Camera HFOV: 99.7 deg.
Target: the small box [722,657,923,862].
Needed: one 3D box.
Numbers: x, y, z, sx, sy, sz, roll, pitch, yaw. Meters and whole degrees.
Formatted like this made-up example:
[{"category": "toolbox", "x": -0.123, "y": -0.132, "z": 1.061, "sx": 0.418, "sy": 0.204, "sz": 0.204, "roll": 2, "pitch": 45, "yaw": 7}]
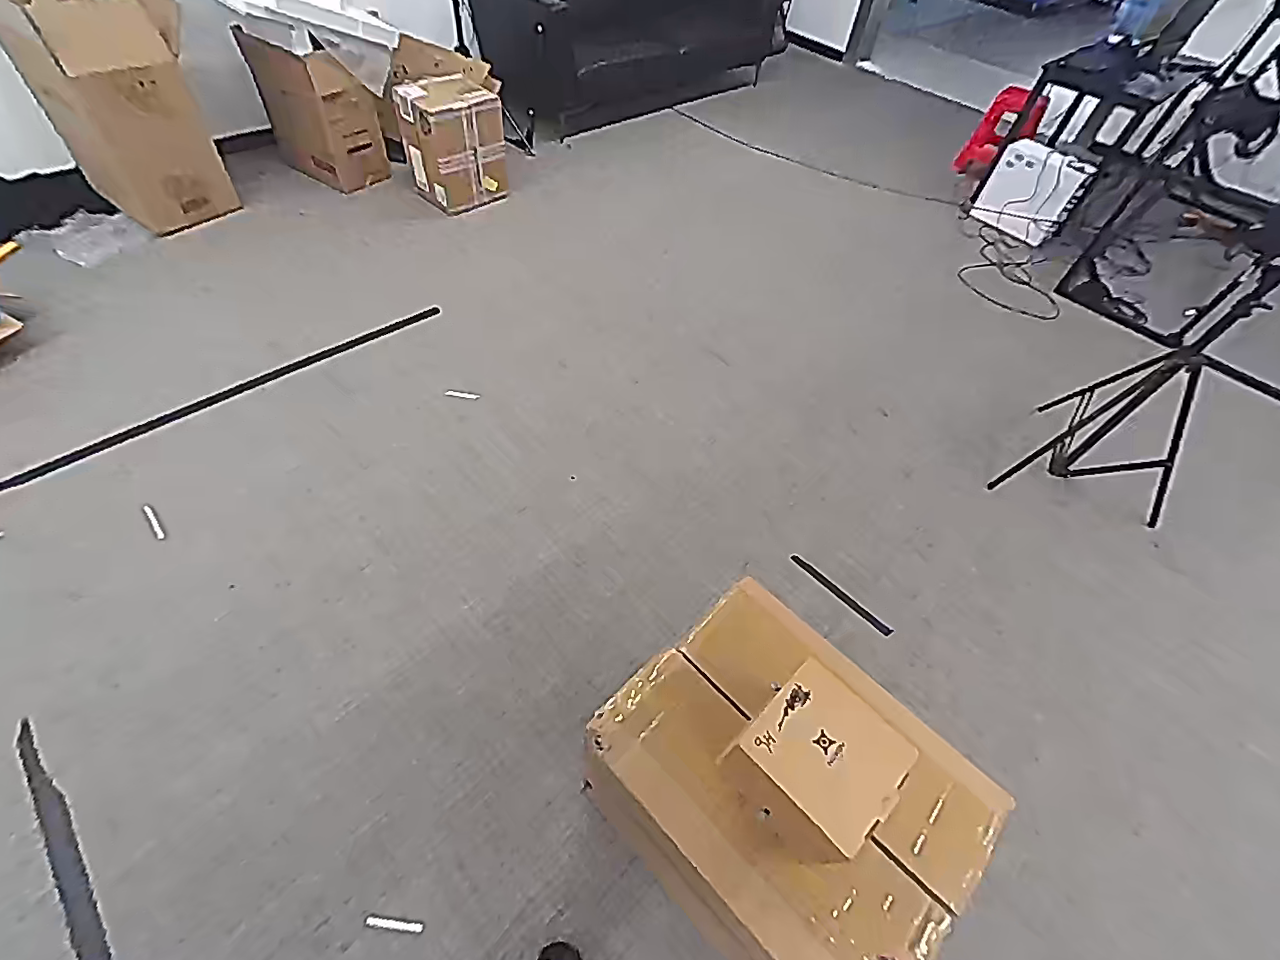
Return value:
[{"category": "small box", "x": 0.238, "y": 0.383, "z": 0.745, "sx": 0.168, "sy": 0.176, "sz": 0.179, "roll": -37, "pitch": 64, "yaw": -26}]
